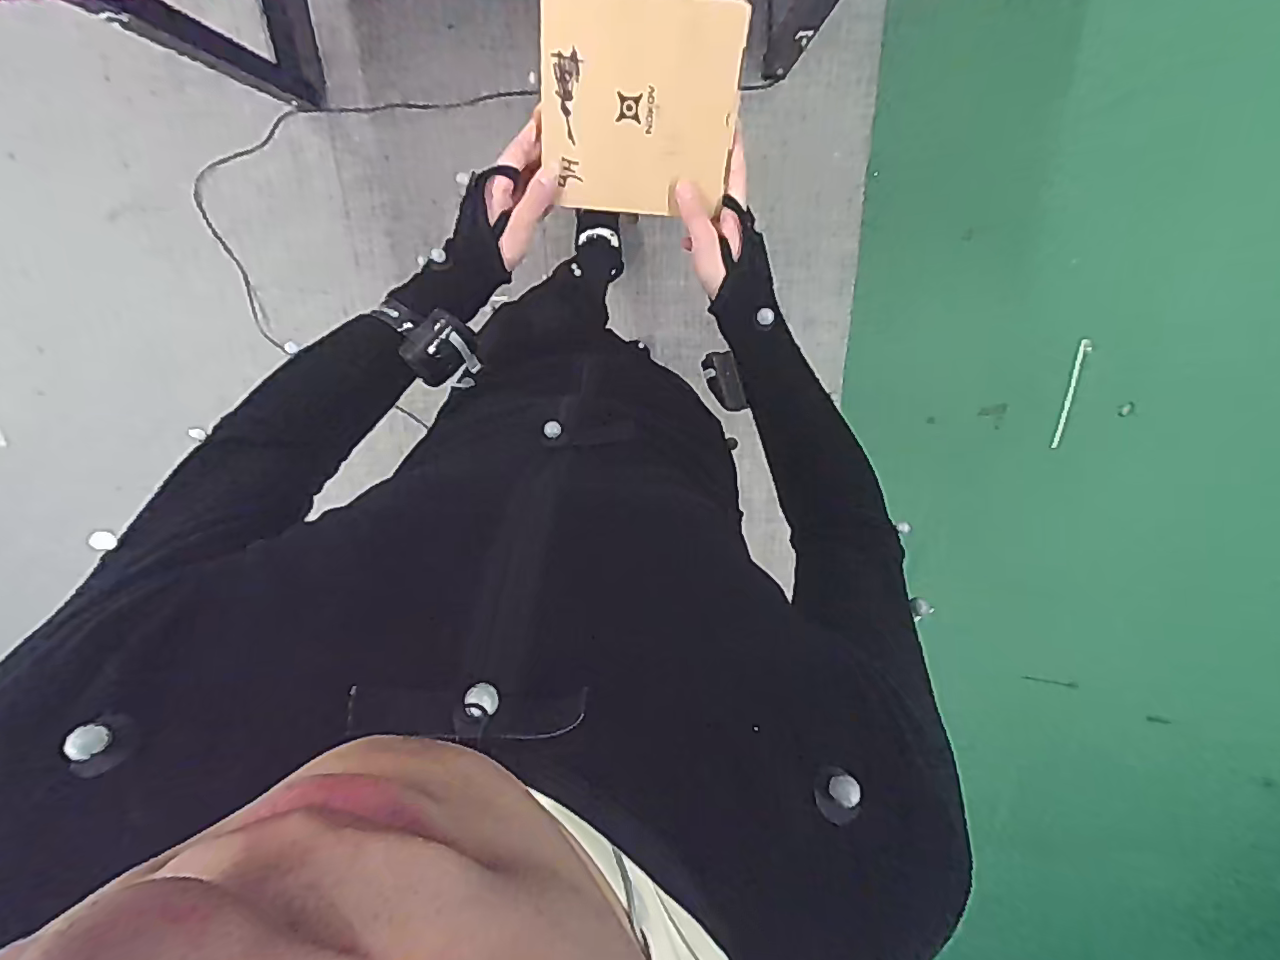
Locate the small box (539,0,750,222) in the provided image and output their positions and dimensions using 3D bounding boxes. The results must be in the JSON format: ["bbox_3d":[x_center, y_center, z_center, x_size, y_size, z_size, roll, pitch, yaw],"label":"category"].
[{"bbox_3d":[-0.004,-0.367,0.549,0.179,0.176,0.168,4,119,-3],"label":"small box"}]

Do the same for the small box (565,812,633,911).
[{"bbox_3d":[-0.109,1.069,1.522,0.179,0.176,0.168,0,110,2],"label":"small box"}]
